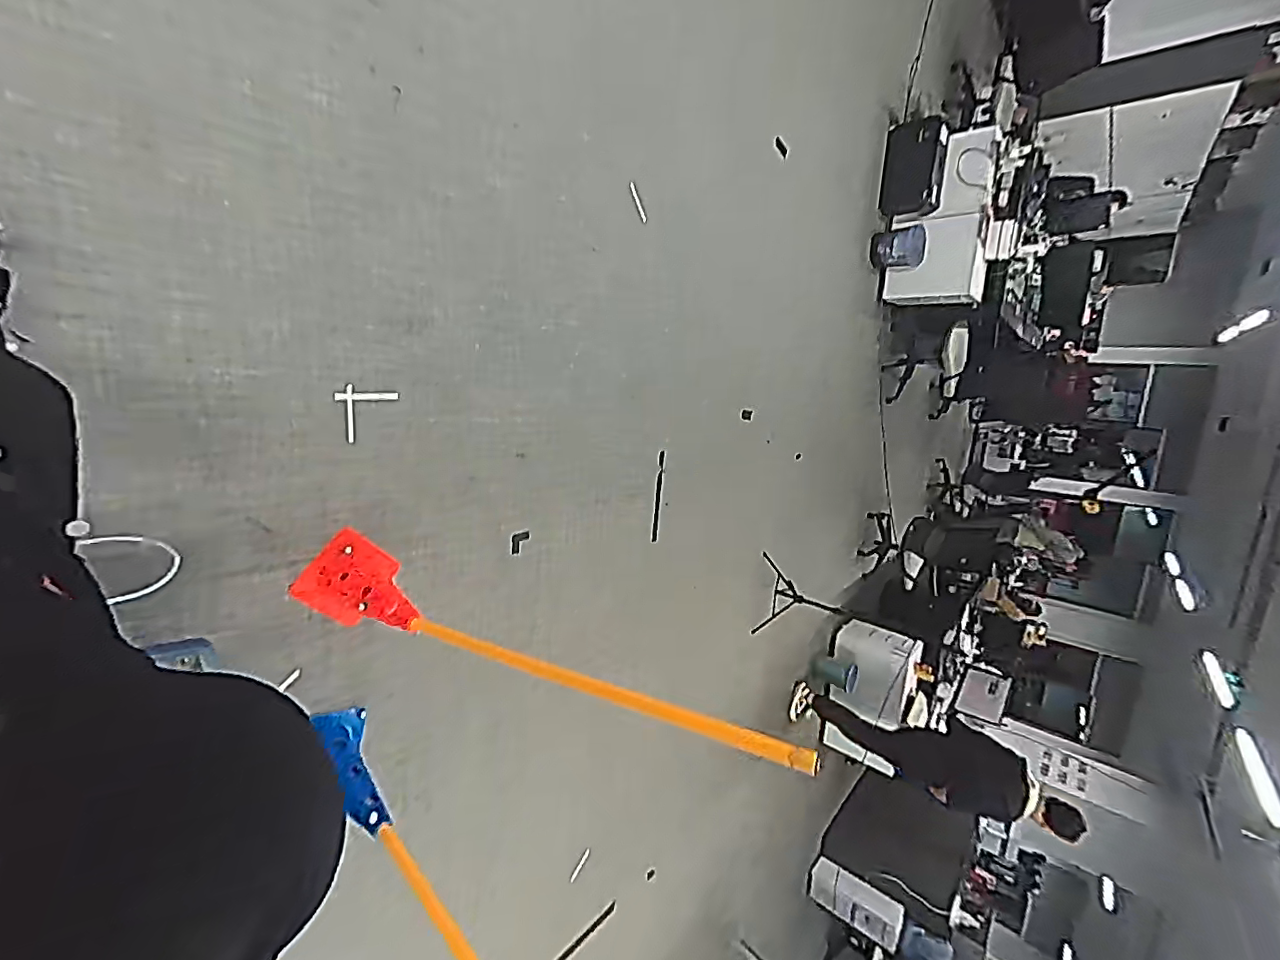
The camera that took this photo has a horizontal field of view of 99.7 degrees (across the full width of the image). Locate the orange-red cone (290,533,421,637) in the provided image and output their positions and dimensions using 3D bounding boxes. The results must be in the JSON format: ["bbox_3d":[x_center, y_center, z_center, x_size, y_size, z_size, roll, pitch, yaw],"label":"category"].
[{"bbox_3d":[-0.605,0.283,1.240,0.199,0.360,0.198,-55,135,-24],"label":"orange-red cone"}]

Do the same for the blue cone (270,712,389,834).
[{"bbox_3d":[-0.694,0.717,1.264,0.193,0.380,0.192,15,87,-51],"label":"blue cone"}]
